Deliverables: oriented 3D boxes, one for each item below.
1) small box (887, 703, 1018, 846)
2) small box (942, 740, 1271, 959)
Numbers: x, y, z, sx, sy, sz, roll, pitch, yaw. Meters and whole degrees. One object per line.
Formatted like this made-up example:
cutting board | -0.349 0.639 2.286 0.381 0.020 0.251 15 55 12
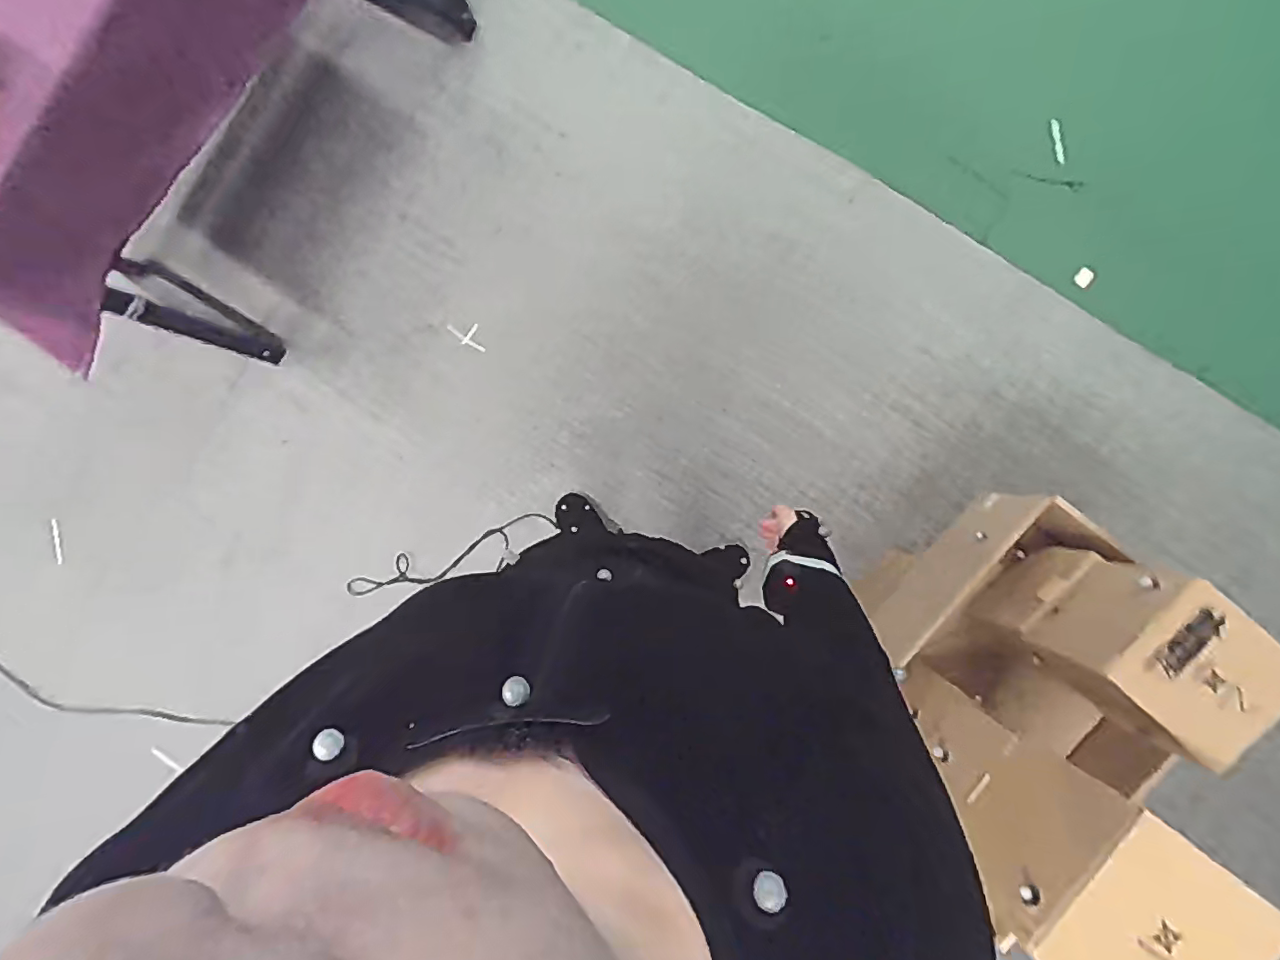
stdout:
small box | 0.481 0.437 0.747 0.179 0.176 0.168 38 90 5
small box | 0.473 0.425 0.584 0.168 0.176 0.179 38 90 4
